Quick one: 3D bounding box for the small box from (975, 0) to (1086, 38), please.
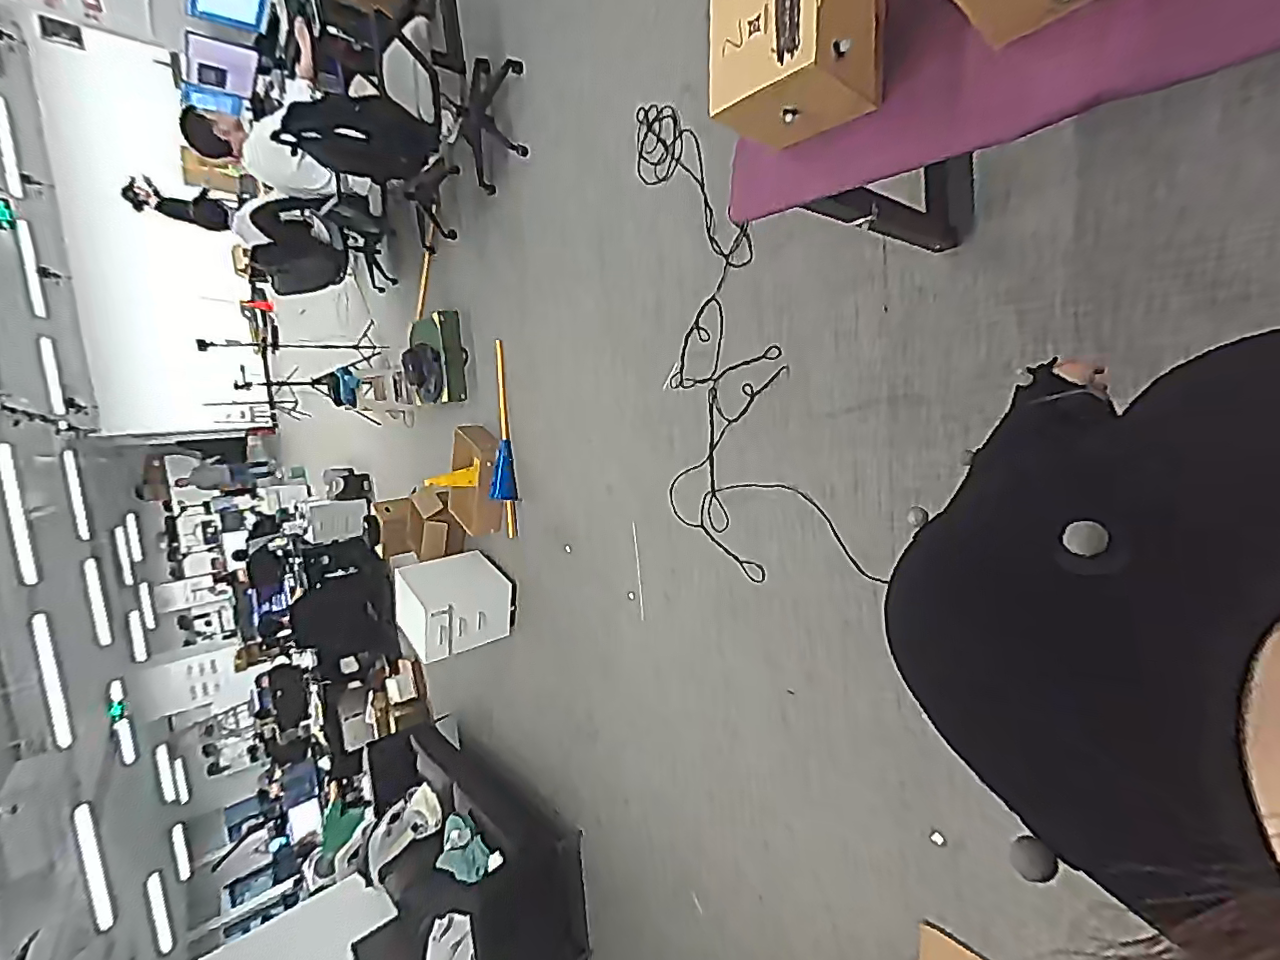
[{"bbox_3d":[0.415,-0.597,0.528,0.168,0.176,0.179,1,97,50],"label":"small box"}]
